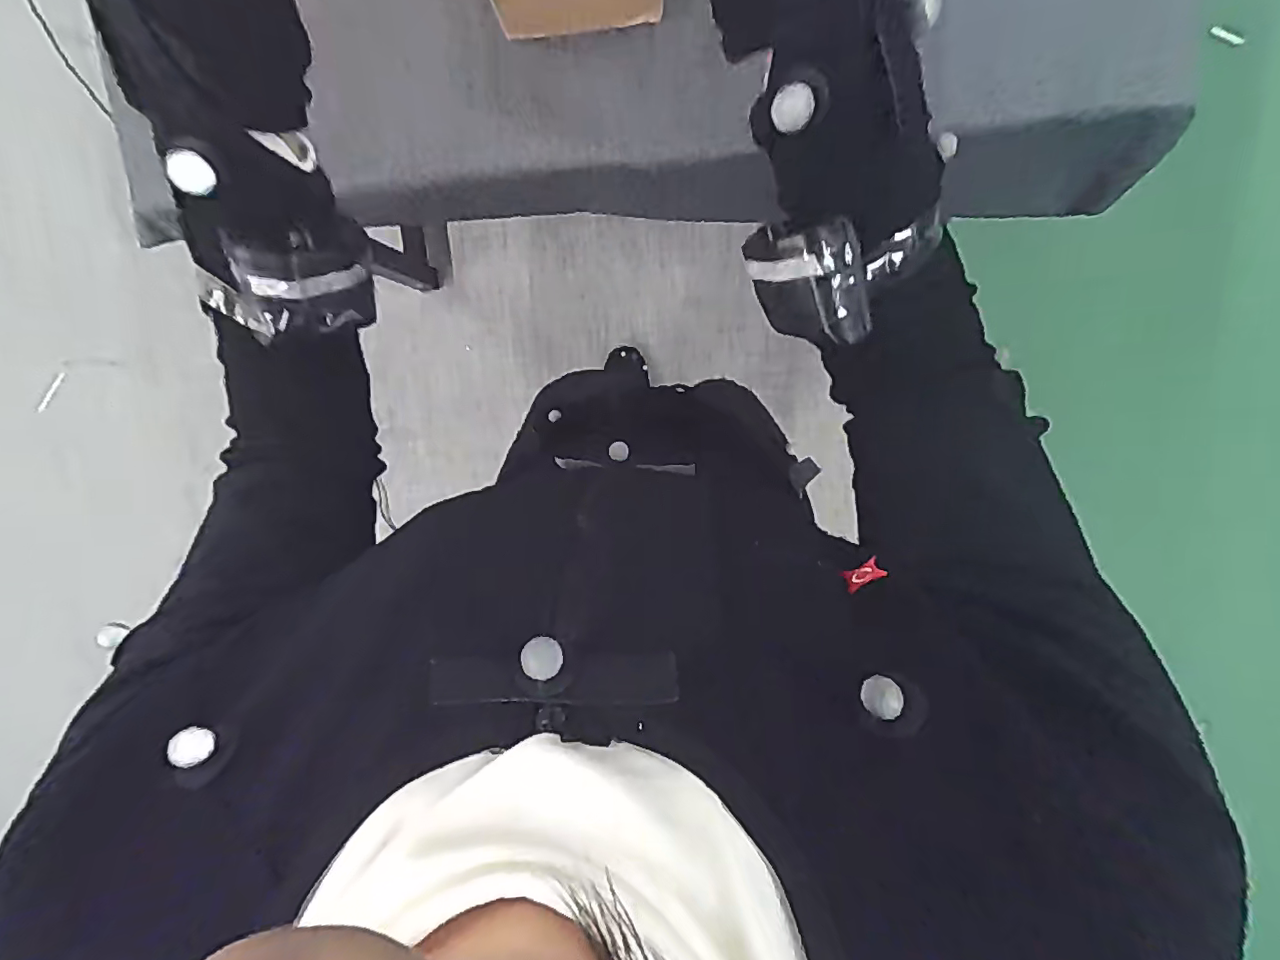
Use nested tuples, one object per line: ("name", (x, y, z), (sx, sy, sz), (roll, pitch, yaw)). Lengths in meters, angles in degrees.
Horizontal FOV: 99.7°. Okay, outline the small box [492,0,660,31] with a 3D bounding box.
("small box", (-0.073, -0.560, 0.501), (0.179, 0.176, 0.168), (-4, 101, 2))
